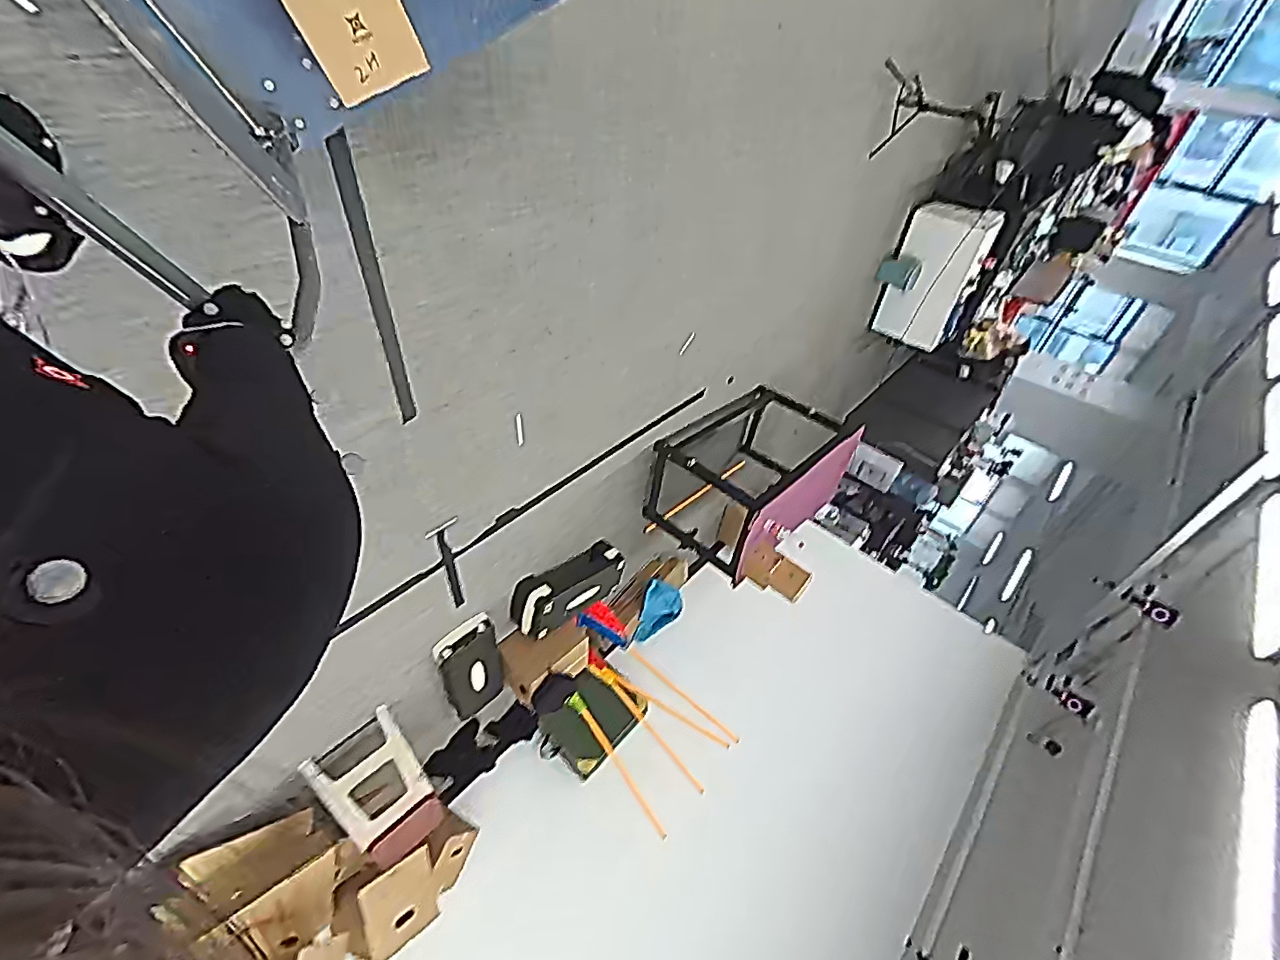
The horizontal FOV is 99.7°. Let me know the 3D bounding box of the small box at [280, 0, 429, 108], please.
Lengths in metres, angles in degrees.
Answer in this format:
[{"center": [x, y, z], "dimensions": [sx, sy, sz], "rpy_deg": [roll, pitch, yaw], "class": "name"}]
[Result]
[{"center": [-0.492, -0.778, 0.908], "dimensions": [0.168, 0.176, 0.179], "rpy_deg": [-30, 149, -6], "class": "small box"}]
